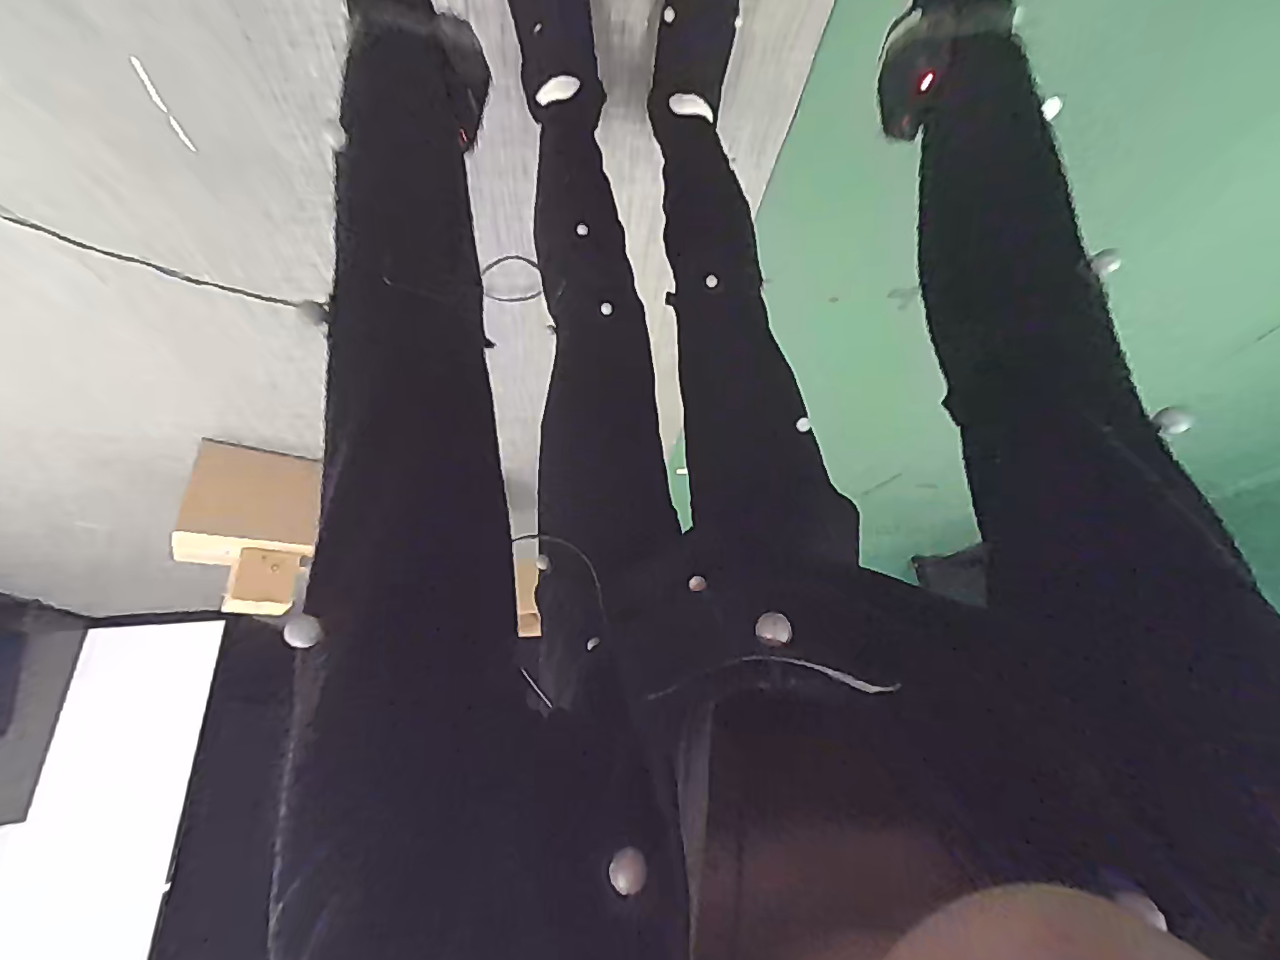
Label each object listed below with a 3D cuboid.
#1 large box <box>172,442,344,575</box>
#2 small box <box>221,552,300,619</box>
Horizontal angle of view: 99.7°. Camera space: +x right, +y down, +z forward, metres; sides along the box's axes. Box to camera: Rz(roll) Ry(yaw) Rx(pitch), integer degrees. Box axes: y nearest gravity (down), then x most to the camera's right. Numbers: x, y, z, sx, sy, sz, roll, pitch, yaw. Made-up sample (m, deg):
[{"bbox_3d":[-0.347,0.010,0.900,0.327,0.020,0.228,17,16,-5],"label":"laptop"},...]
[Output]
[{"bbox_3d":[-1.269,0.112,1.819,0.408,0.320,0.320,16,147,-34],"label":"large box"},{"bbox_3d":[-1.222,0.344,1.745,0.168,0.176,0.179,18,147,-38],"label":"small box"}]
